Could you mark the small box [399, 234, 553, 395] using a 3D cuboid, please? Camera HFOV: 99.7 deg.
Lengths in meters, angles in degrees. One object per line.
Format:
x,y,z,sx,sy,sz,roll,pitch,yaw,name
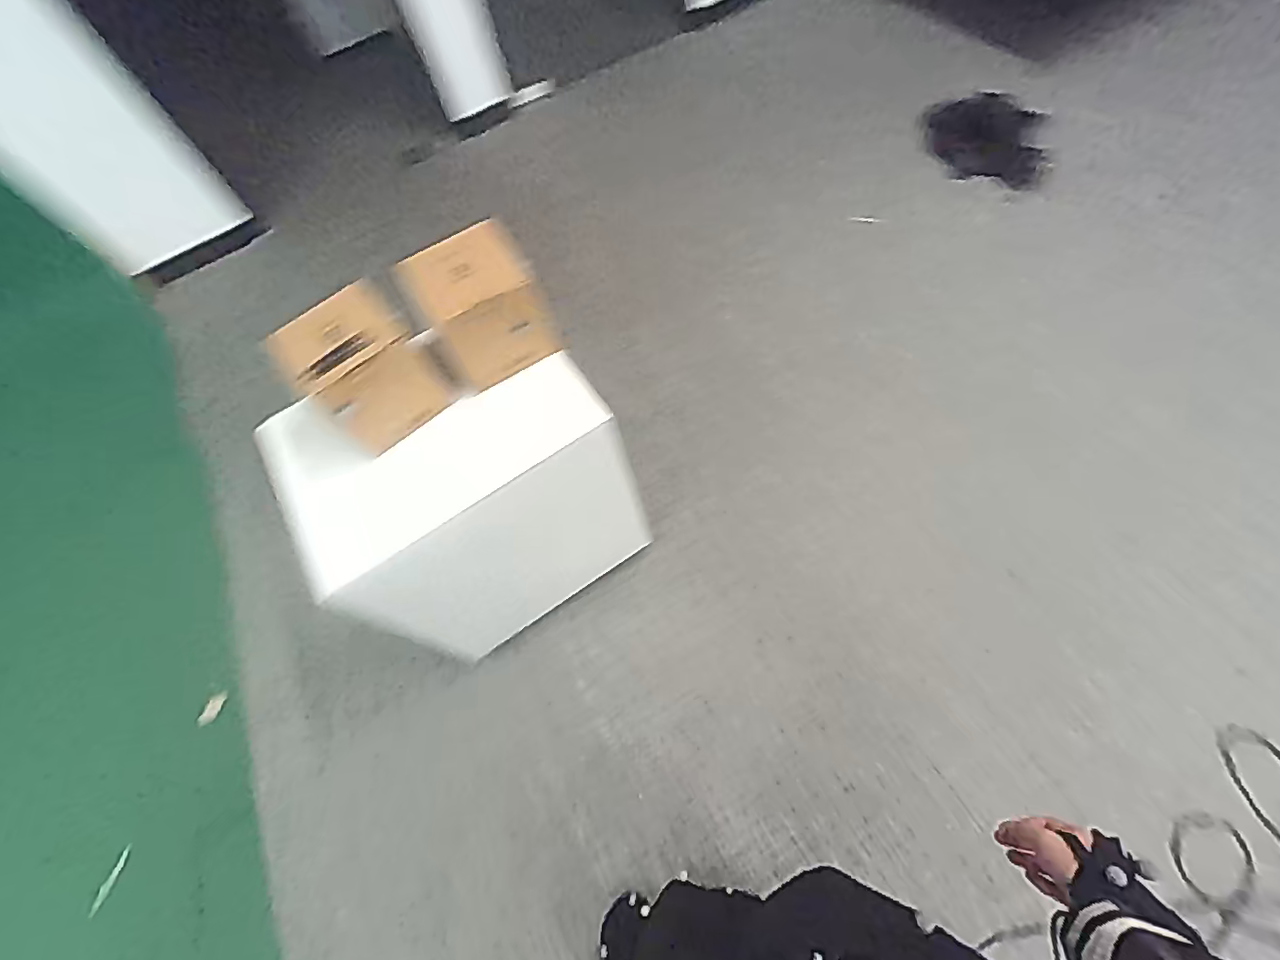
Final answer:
-0.269,-0.269,0.915,0.168,0.176,0.179,-30,61,-8,small box
